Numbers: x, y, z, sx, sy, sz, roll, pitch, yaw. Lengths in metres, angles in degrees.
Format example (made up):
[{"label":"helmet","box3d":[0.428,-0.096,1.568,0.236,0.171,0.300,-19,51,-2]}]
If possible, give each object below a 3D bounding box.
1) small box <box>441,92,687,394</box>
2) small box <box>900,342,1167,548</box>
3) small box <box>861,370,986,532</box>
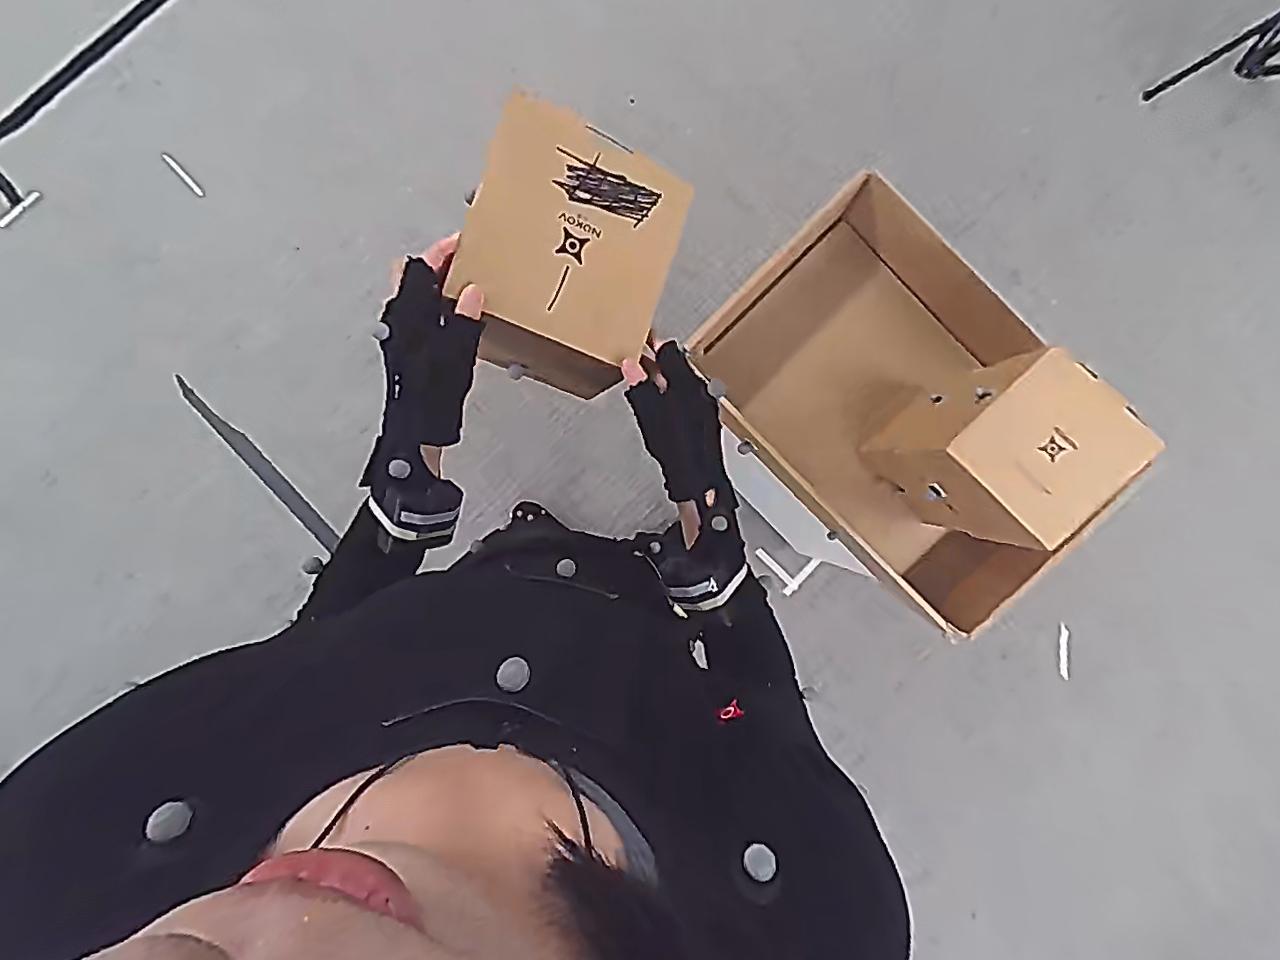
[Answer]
[{"label":"small box","box3d":[-0.081,-0.199,0.514,0.168,0.176,0.179,19,84,-18]},{"label":"small box","box3d":[0.473,-0.040,0.685,0.179,0.176,0.168,-45,86,3]},{"label":"small box","box3d":[0.489,-0.043,0.848,0.168,0.176,0.179,-44,88,2]}]
